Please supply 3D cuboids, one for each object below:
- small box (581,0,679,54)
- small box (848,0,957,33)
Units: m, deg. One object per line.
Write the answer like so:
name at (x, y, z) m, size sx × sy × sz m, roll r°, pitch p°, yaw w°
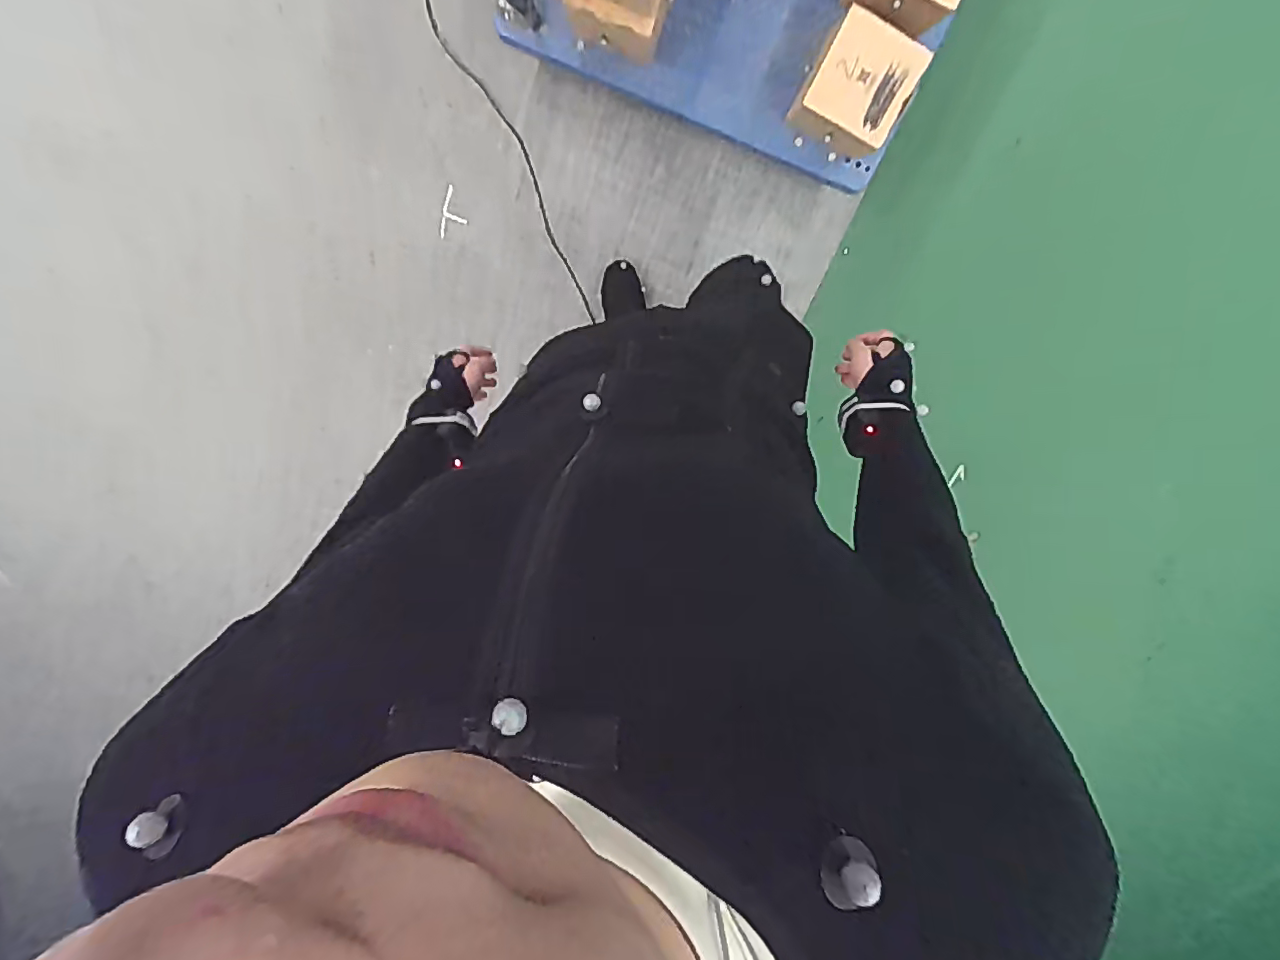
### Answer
small box at (-0.034, -0.943, 0.995) m, size 0.168 × 0.176 × 0.179 m, roll -35°, pitch 108°, yaw 18°
small box at (0.498, -0.949, 0.968) m, size 0.179 × 0.176 × 0.168 m, roll 21°, pitch 114°, yaw -8°
